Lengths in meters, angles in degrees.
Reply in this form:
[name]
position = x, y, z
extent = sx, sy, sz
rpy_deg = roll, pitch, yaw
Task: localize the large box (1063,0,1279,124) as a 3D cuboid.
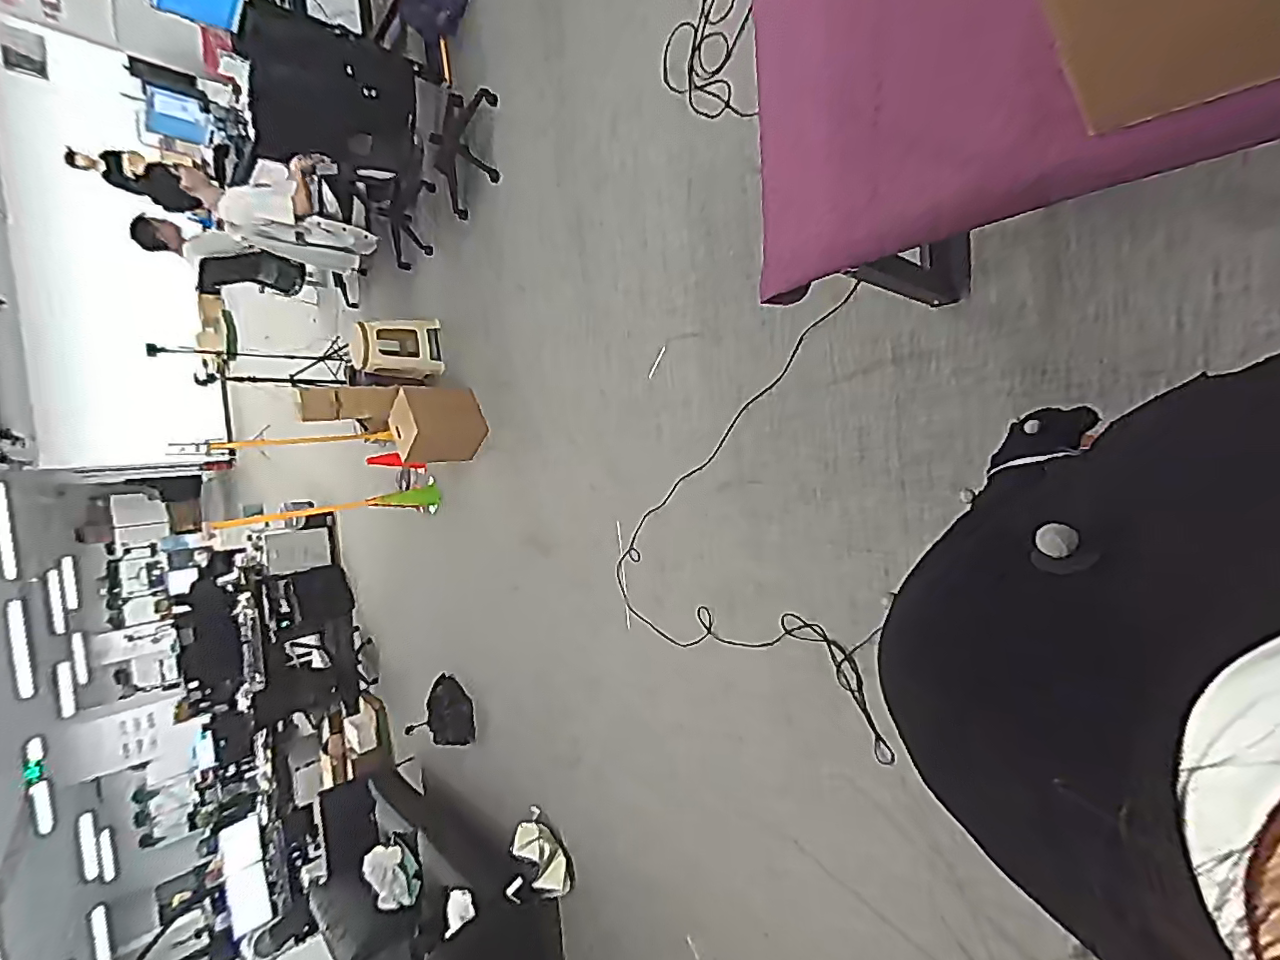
[large box]
position = 0.493, -0.562, 0.364
extent = 0.320, 0.320, 0.408
rpy_deg = 3, 97, 46
